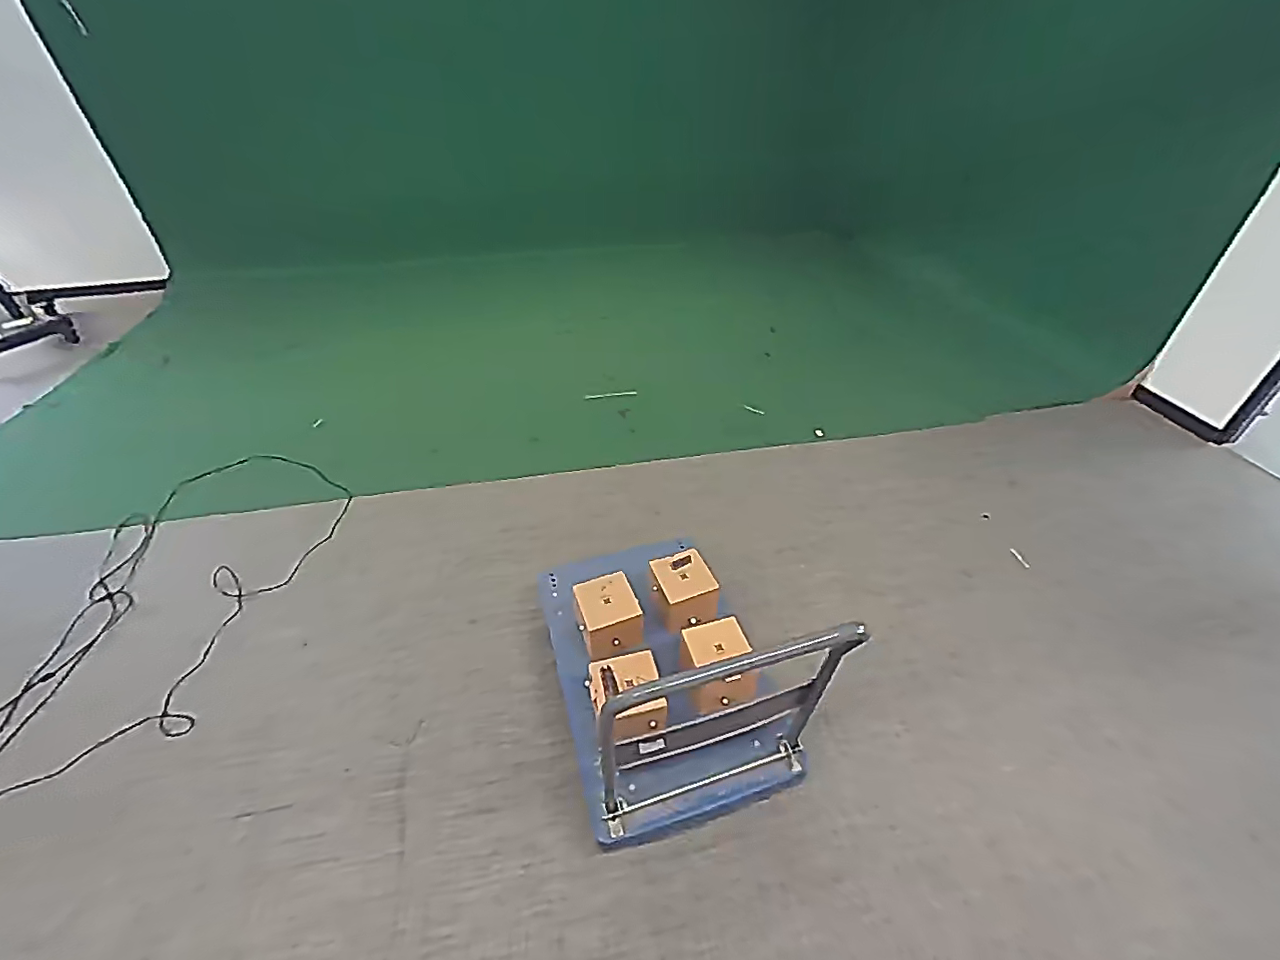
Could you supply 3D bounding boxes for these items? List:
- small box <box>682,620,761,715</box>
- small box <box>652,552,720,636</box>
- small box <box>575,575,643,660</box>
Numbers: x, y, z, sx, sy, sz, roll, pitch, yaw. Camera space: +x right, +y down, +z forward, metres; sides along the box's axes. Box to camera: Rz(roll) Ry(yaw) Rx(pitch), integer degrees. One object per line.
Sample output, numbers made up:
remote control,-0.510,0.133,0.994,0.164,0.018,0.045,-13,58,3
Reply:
small box,0.224,0.535,1.543,0.168,0.176,0.179,-12,42,-12
small box,0.141,0.368,1.739,0.168,0.176,0.179,-15,43,-15
small box,-0.093,0.431,1.672,0.168,0.176,0.179,-14,42,-16
